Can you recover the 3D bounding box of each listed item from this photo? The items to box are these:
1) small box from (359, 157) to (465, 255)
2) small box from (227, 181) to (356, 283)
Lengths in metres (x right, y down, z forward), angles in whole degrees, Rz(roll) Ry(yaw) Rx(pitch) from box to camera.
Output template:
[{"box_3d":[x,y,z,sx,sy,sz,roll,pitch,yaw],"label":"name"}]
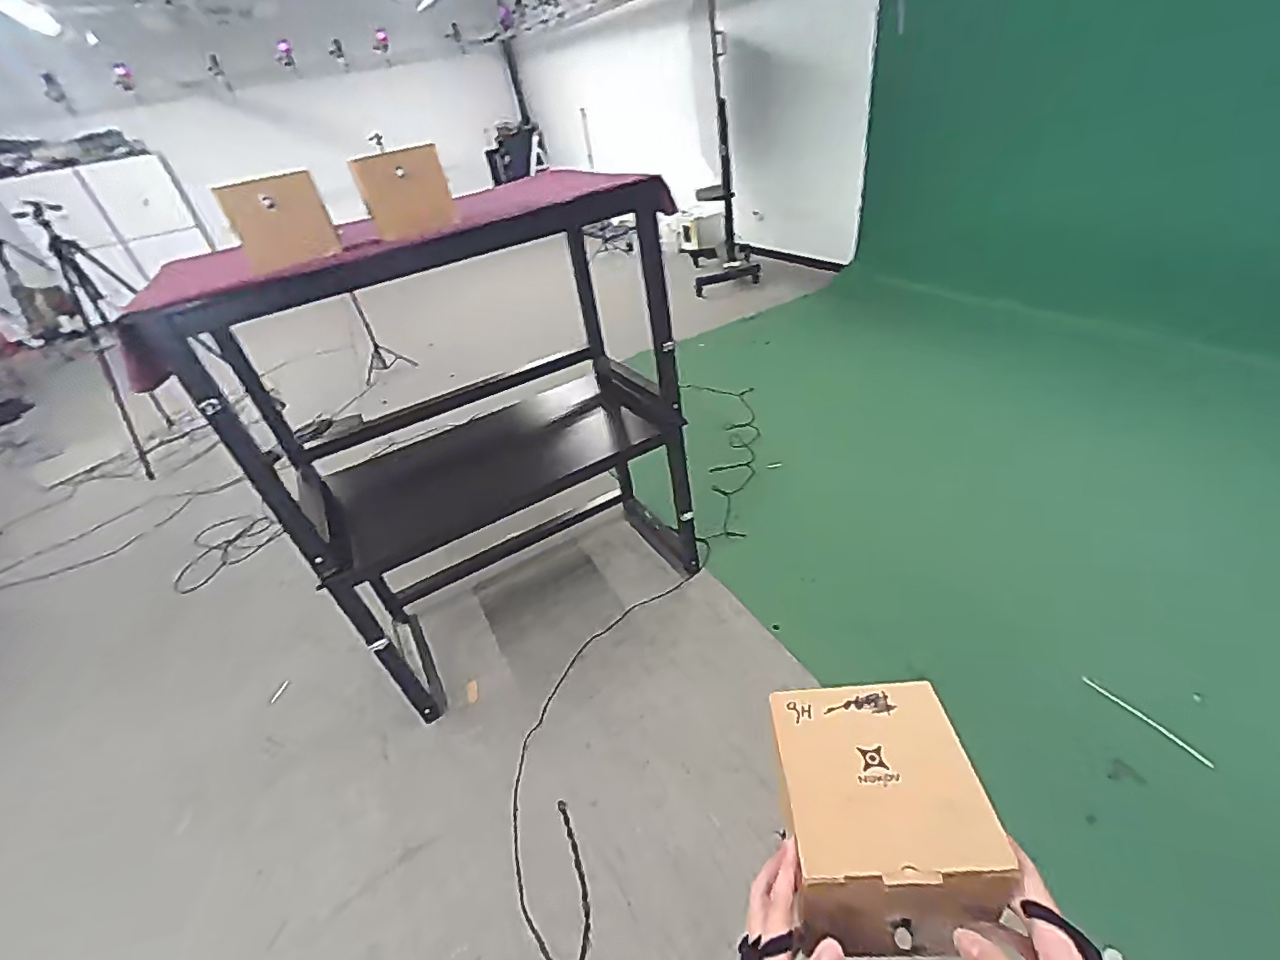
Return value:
[{"box_3d":[-0.527,-0.643,1.264,0.179,0.176,0.168,-26,36,-19],"label":"small box"},{"box_3d":[-0.747,-0.542,1.178,0.179,0.176,0.168,-21,36,-17],"label":"small box"}]
